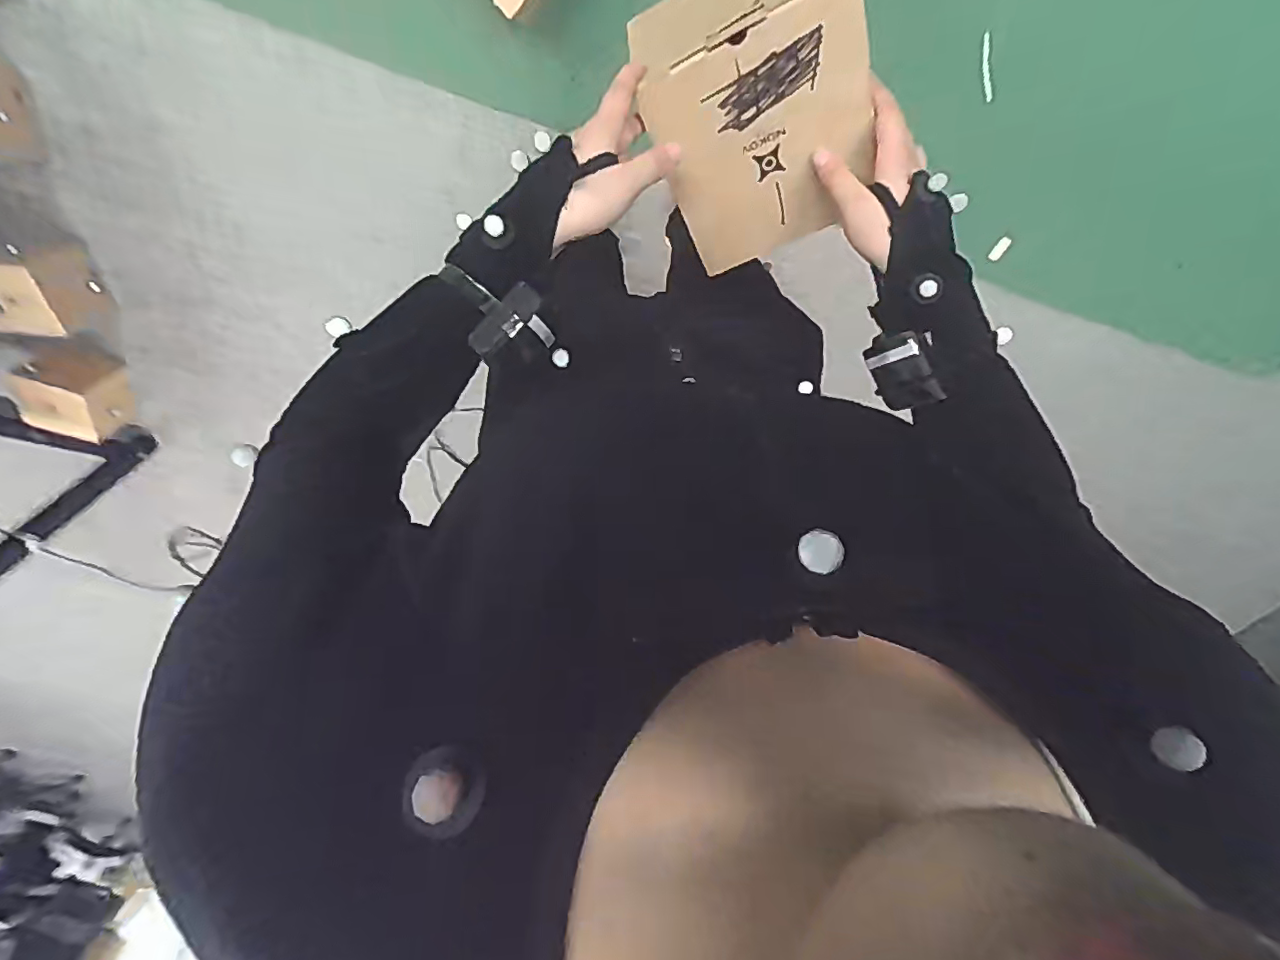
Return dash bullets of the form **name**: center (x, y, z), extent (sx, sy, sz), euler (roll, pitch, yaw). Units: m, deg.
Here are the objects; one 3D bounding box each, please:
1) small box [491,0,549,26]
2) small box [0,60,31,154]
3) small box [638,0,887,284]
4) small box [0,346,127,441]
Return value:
- **small box**: center (-0.206, -0.904, 0.897), extent (0.168, 0.176, 0.179), euler (-32, 121, 23)
- **small box**: center (-1.363, -0.745, 1.048), extent (0.179, 0.176, 0.168), euler (10, 128, -7)
- **small box**: center (0.105, -0.322, 0.486), extent (0.168, 0.176, 0.179), euler (-17, 142, 19)
- **small box**: center (-1.545, -0.238, 1.462), extent (0.179, 0.176, 0.168), euler (18, 127, -12)
